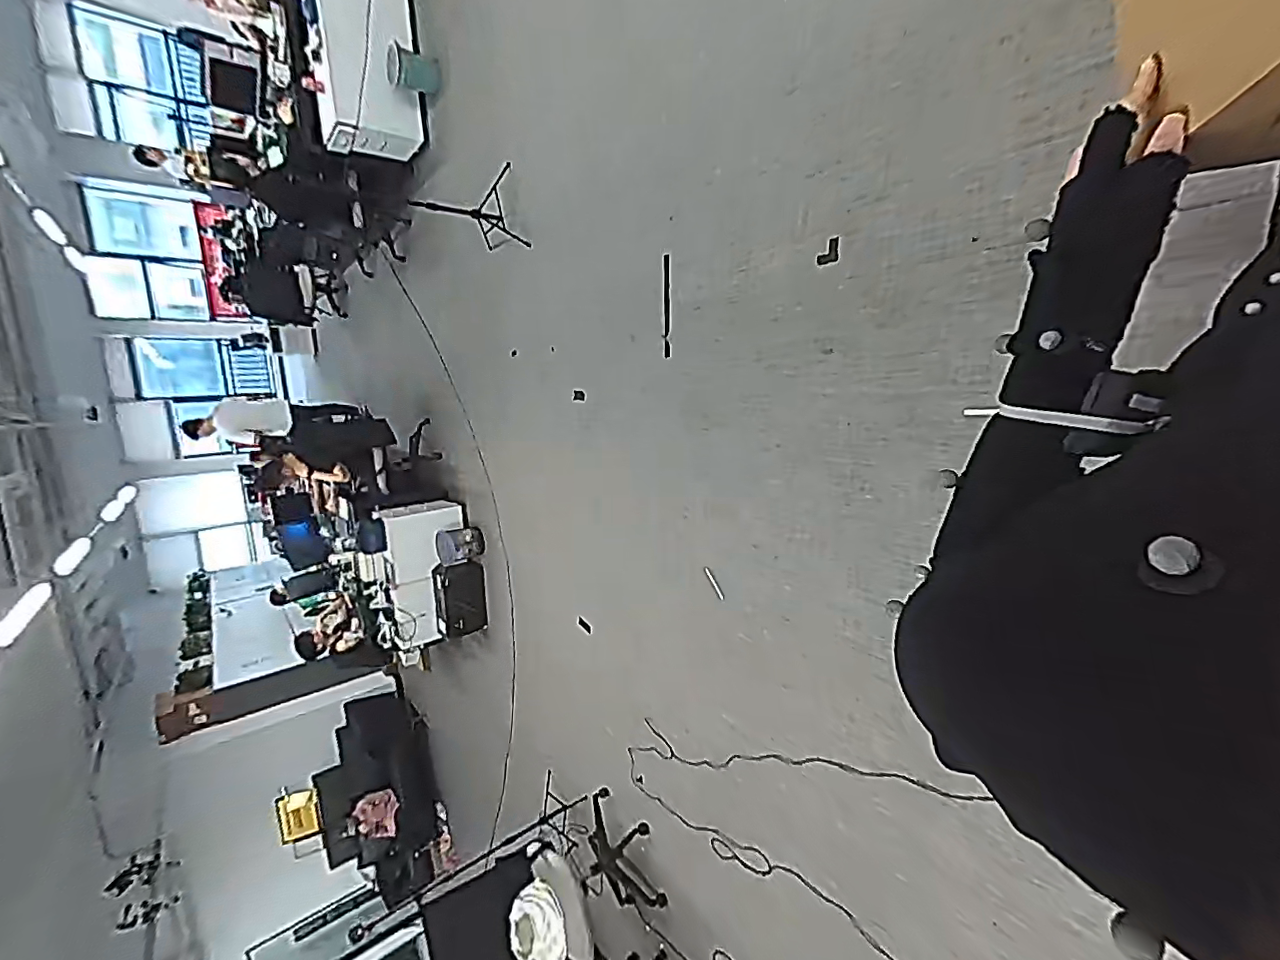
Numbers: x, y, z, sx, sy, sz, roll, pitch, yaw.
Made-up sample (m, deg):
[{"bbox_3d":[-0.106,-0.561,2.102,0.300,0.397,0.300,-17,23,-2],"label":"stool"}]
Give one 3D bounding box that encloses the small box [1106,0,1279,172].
[{"bbox_3d":[0.385,-0.295,0.271,0.179,0.168,0.176,-4,90,12],"label":"small box"}]
